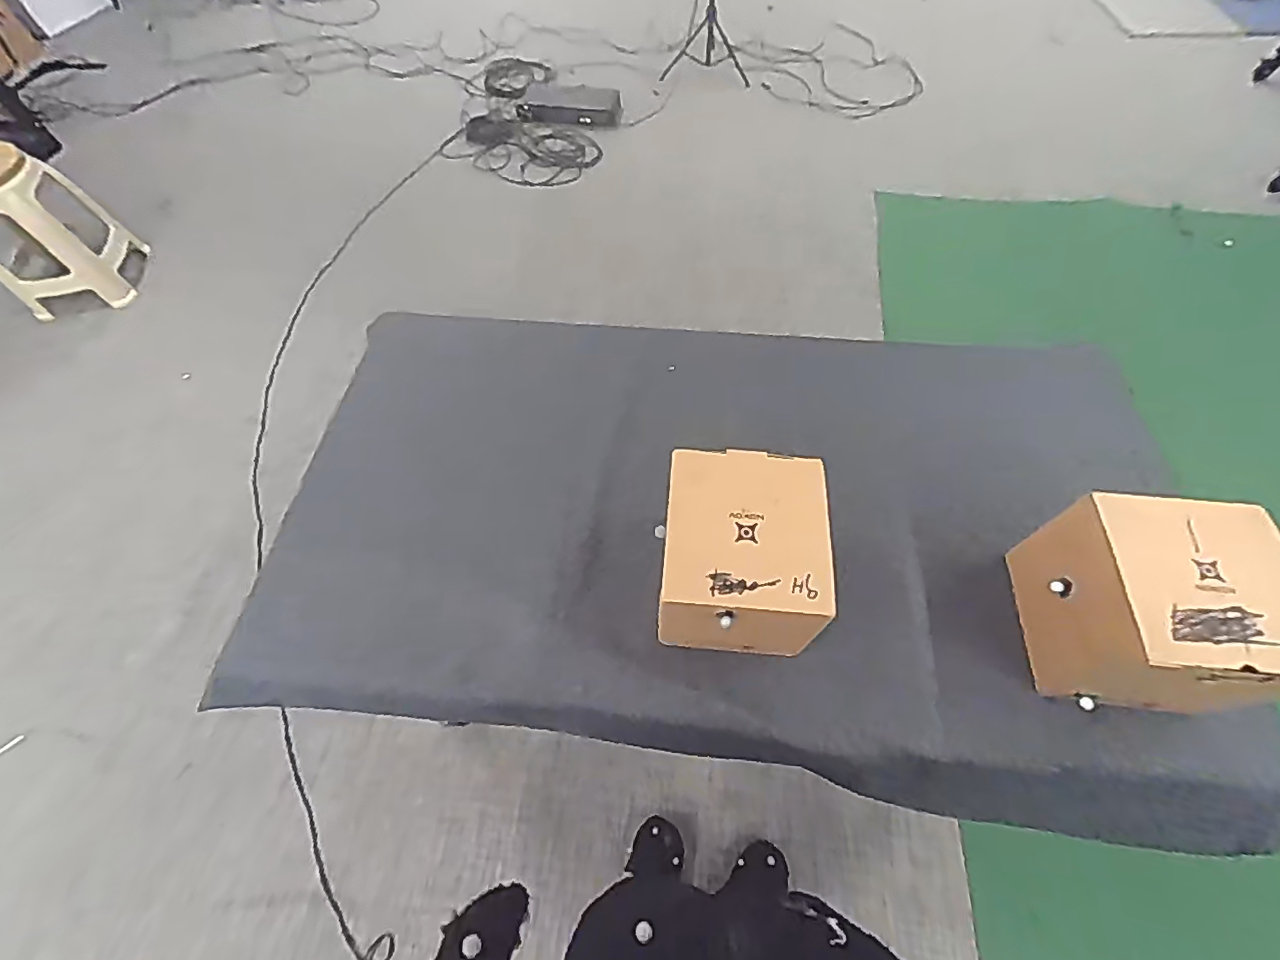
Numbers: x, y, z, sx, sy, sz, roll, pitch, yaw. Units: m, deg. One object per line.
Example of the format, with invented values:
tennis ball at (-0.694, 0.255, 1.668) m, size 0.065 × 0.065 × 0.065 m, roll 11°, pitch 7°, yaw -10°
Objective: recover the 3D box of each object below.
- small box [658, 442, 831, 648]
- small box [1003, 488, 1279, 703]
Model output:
small box at (0.110, 0.079, 0.625) m, size 0.168 × 0.176 × 0.179 m, roll 5°, pitch 60°, yaw 4°
small box at (0.532, 0.131, 0.582) m, size 0.168 × 0.176 × 0.179 m, roll 6°, pitch 59°, yaw 6°
